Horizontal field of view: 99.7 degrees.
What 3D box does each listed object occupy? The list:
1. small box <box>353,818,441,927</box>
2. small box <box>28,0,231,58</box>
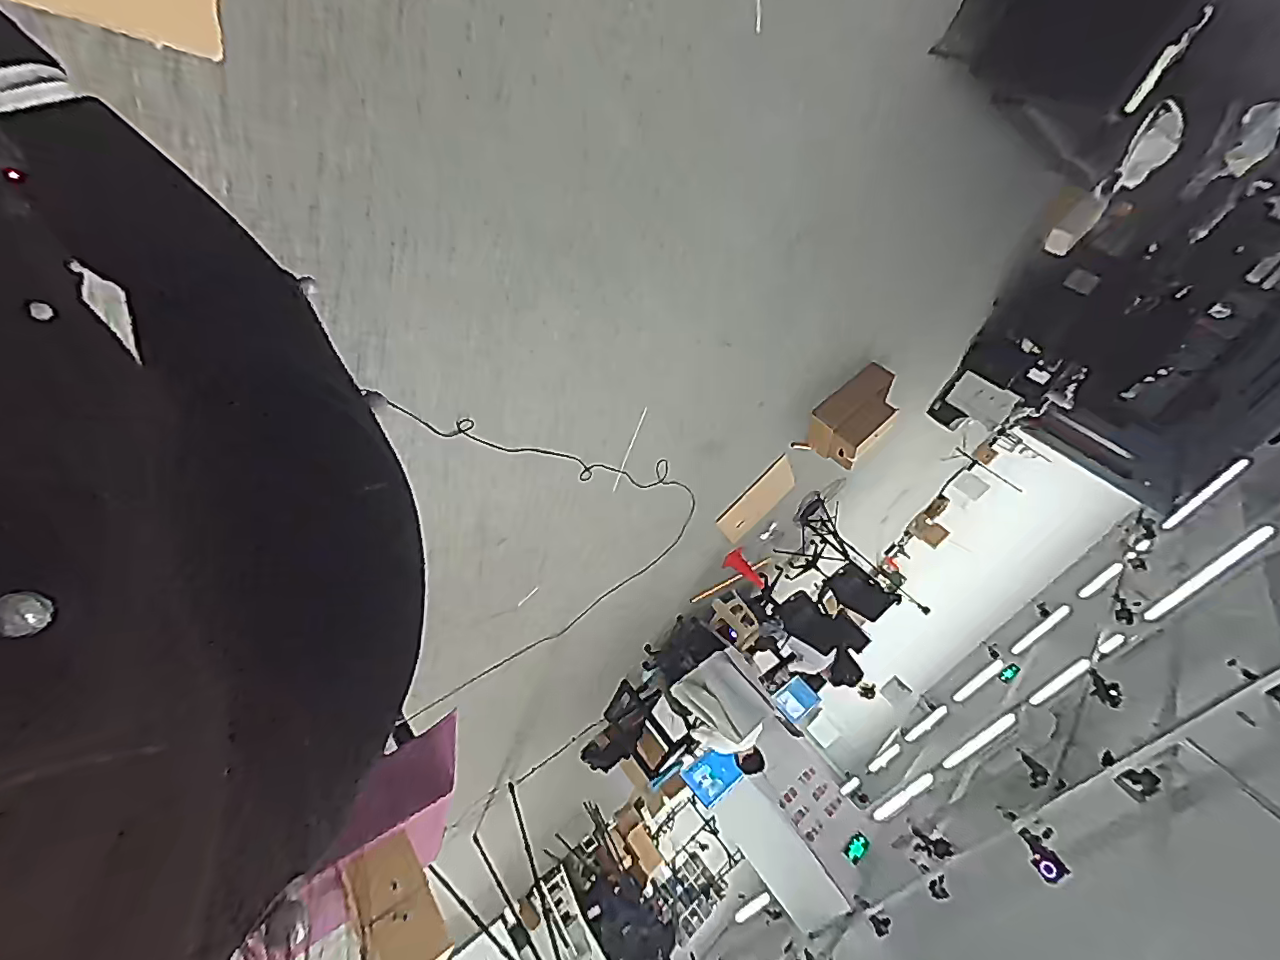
[{"bbox_3d":[-0.714,1.140,1.583,0.179,0.176,0.168,-13,139,-43],"label":"small box"},{"bbox_3d":[-0.515,-0.539,0.504,0.179,0.176,0.168,-15,138,-44],"label":"small box"}]
